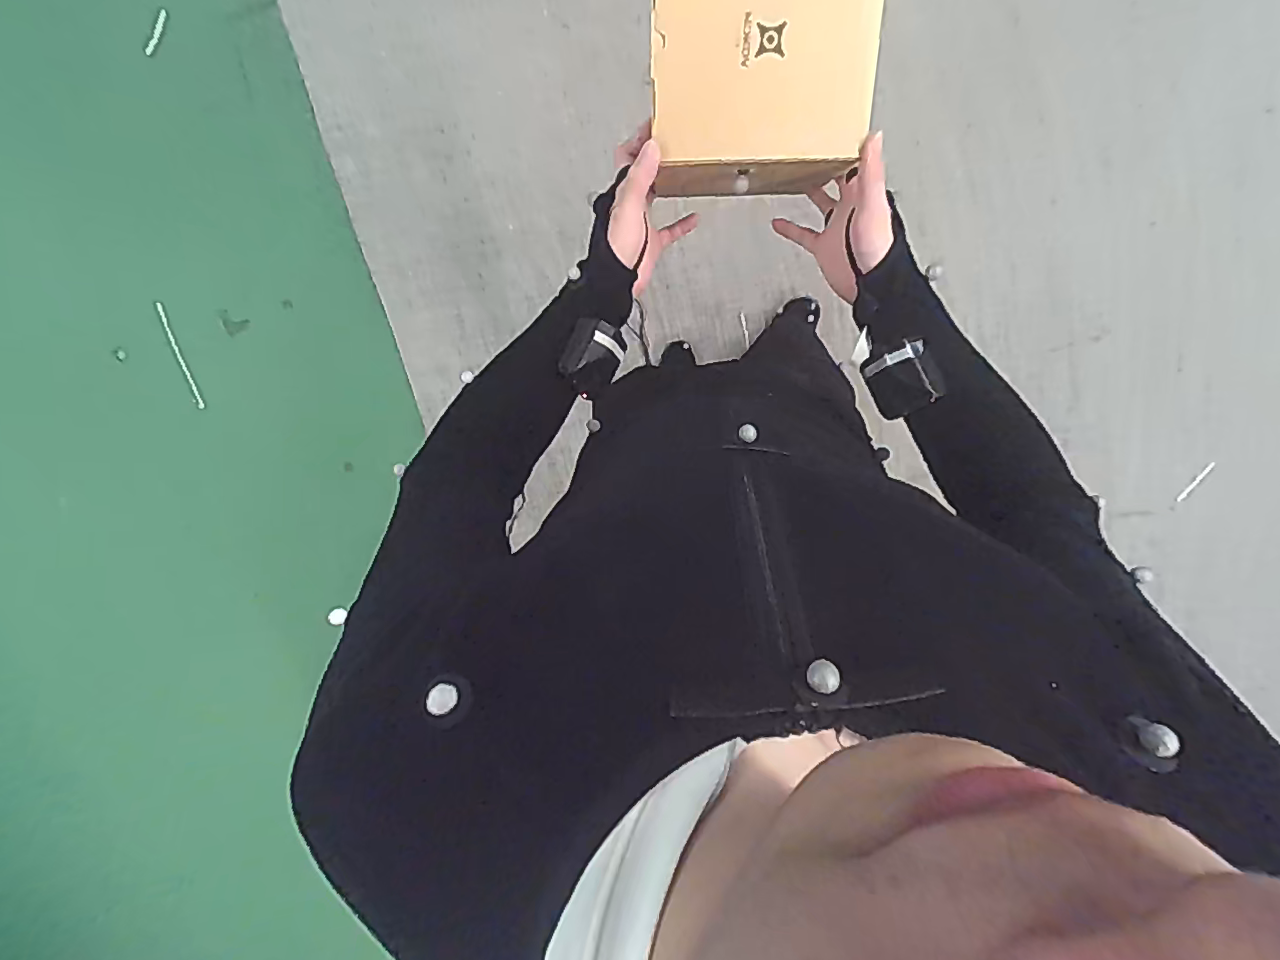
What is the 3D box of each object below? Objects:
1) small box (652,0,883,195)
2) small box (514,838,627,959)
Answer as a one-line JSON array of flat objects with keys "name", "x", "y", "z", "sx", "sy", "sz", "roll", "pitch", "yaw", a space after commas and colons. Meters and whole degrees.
[{"name": "small box", "x": 0.101, "y": -0.366, "z": 0.493, "sx": 0.179, "sy": 0.176, "sz": 0.168, "roll": 0, "pitch": 109, "yaw": 4}, {"name": "small box", "x": -0.124, "y": 0.836, "z": 1.054, "sx": 0.179, "sy": 0.176, "sz": 0.168, "roll": -10, "pitch": 105, "yaw": 6}]
